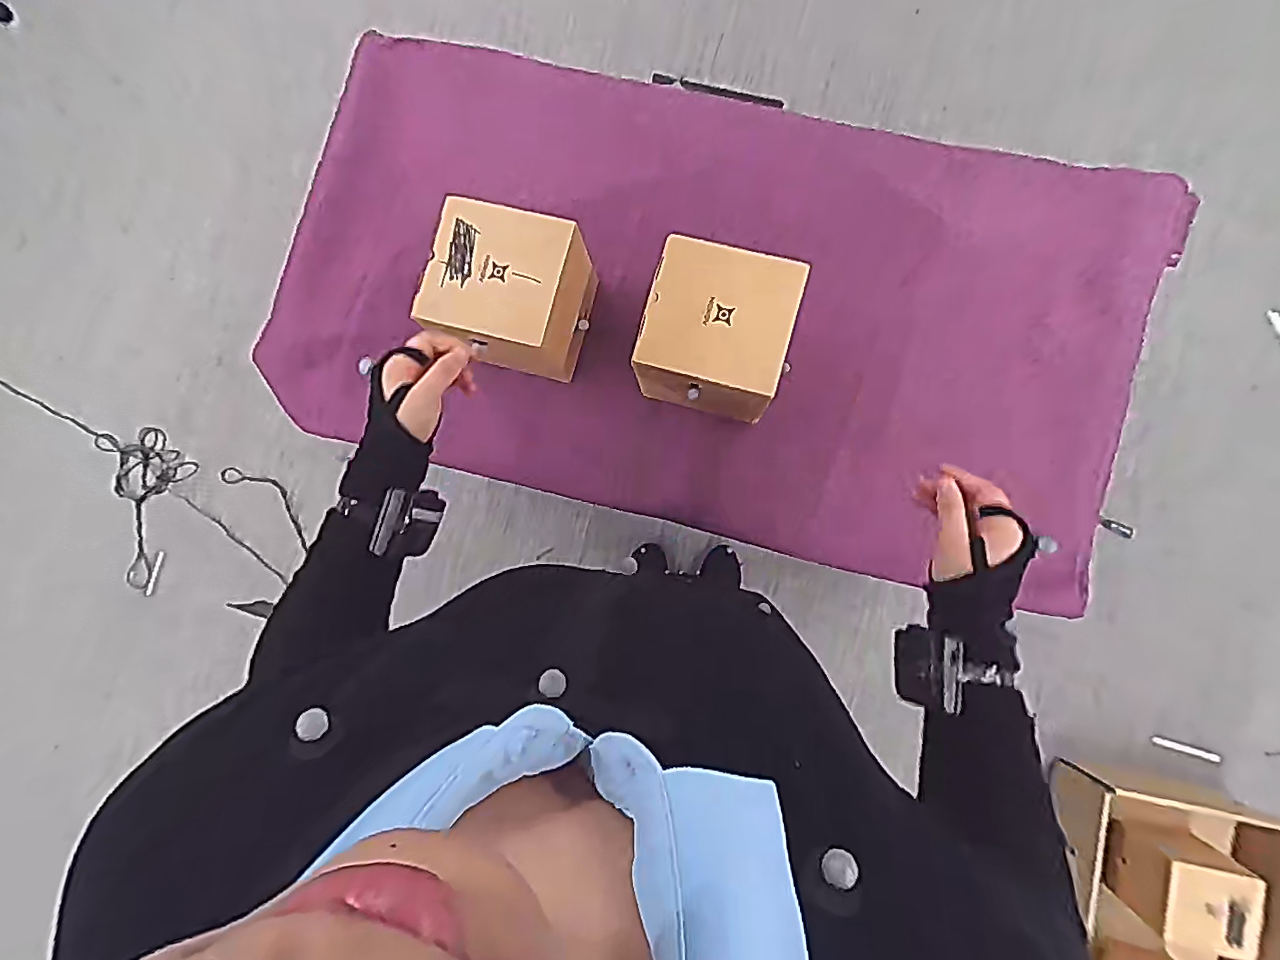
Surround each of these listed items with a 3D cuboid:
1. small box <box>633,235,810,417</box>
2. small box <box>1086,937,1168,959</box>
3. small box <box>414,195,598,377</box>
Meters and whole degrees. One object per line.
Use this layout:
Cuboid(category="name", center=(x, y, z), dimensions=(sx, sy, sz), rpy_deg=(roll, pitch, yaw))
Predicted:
Cuboid(category="small box", center=(0.104, -0.190, 0.719), dimensions=(0.179, 0.176, 0.168), rpy_deg=(16, 87, 8))
Cuboid(category="small box", center=(1.116, 1.161, 1.187), dimensions=(0.179, 0.176, 0.168), rpy_deg=(12, 87, 6))
Cuboid(category="small box", center=(-0.172, -0.256, 0.750), dimensions=(0.179, 0.176, 0.168), rpy_deg=(15, 87, 6))
